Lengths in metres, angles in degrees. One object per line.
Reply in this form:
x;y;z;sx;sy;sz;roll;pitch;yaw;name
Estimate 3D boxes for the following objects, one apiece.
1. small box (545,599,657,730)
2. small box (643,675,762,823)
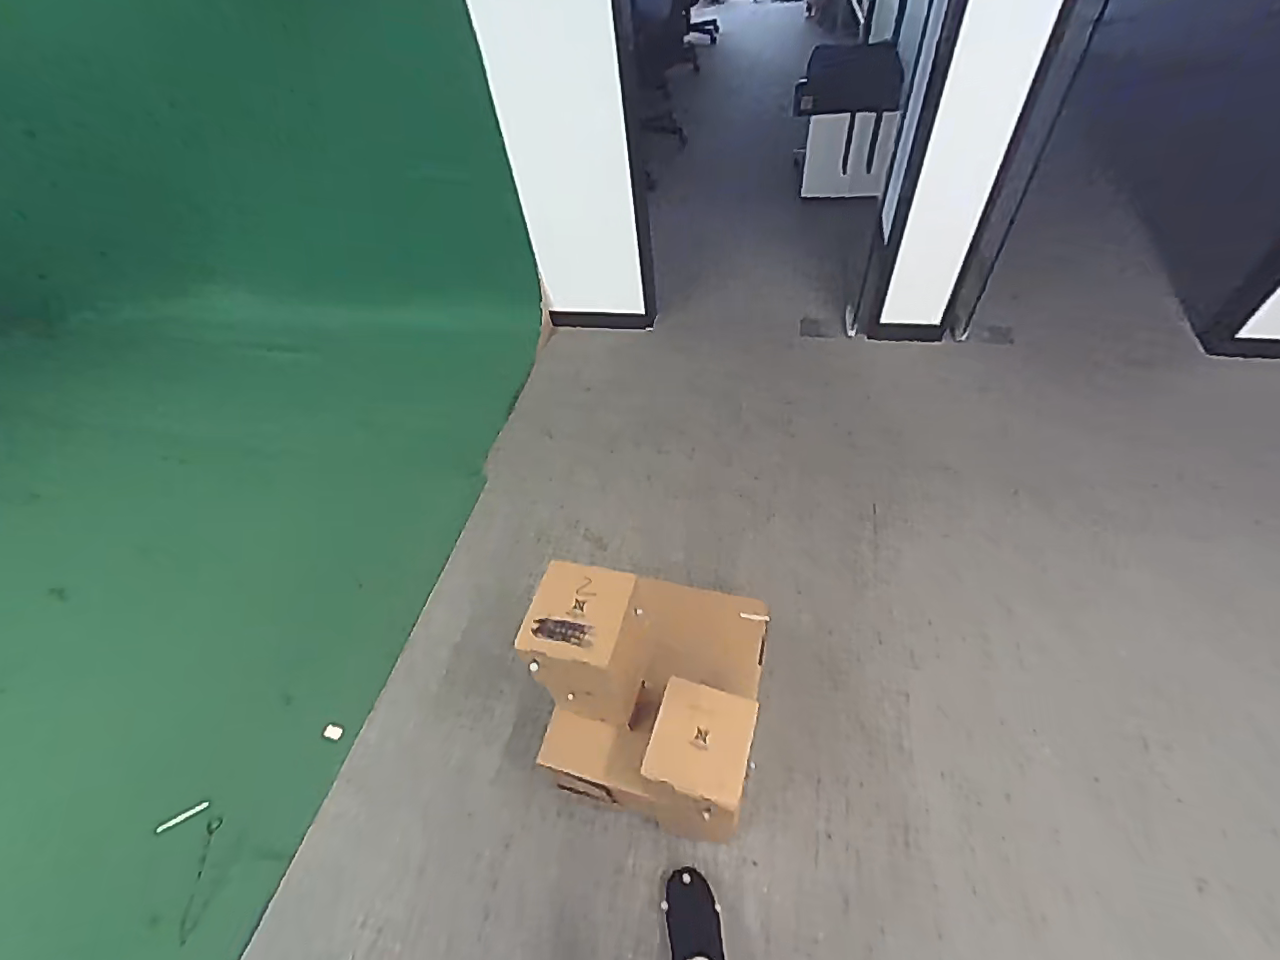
-0.069;0.375;1.098;0.168;0.176;0.179;11;51;17;small box
0.115;0.489;0.976;0.168;0.176;0.179;13;52;16;small box
